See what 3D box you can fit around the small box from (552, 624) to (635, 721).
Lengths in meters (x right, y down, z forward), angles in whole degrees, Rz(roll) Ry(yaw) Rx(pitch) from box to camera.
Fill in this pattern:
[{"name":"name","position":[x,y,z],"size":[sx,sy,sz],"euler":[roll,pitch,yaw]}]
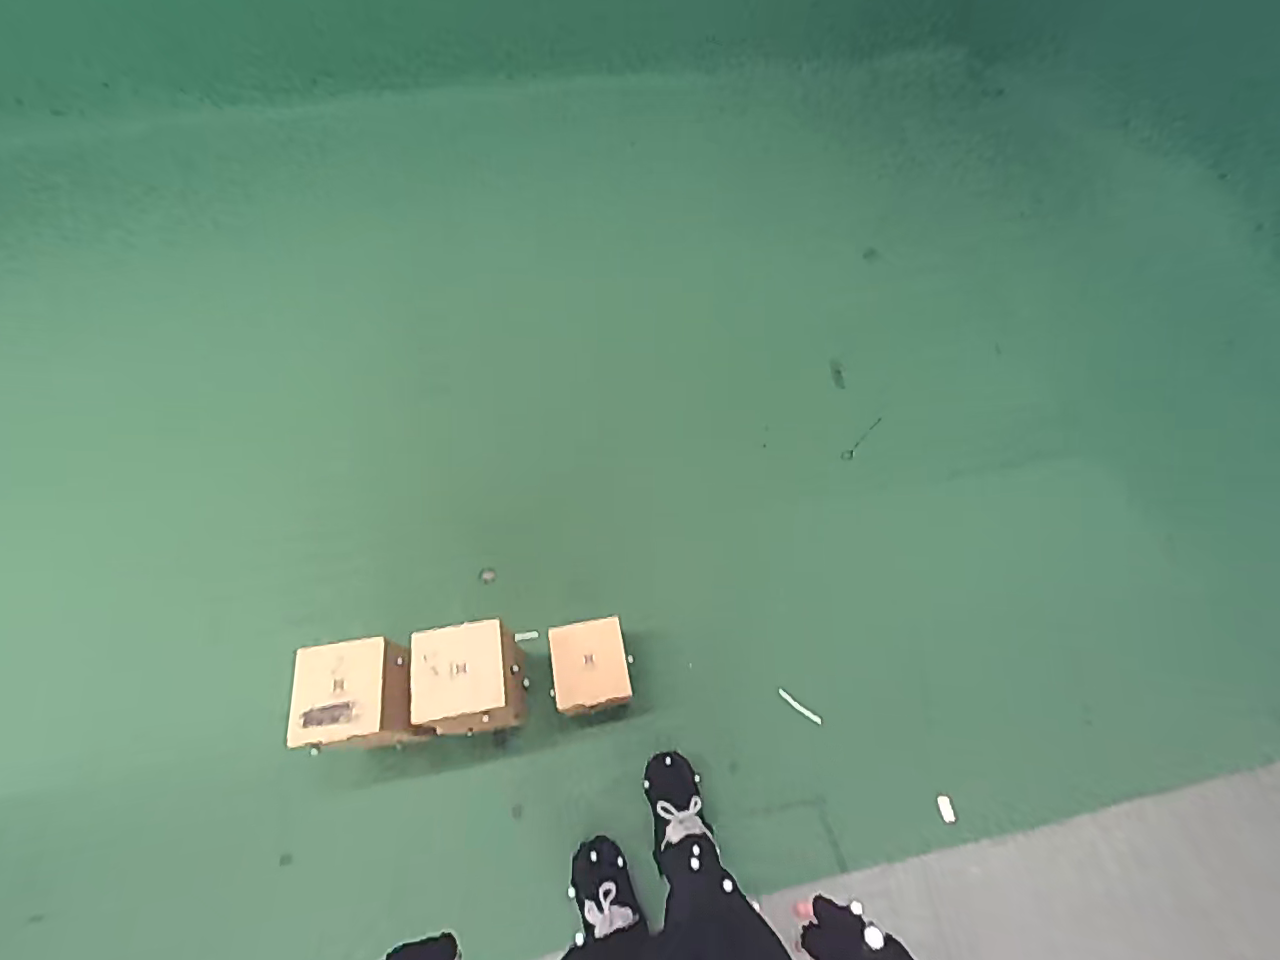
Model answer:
[{"name":"small box","position":[-0.110,0.459,1.282],"size":[0.168,0.176,0.179],"euler":[-10,64,-6]}]

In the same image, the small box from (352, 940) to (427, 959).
[{"name":"small box","position":[-0.214,0.512,0.419],"size":[0.168,0.179,0.176],"euler":[32,54,22]}]
